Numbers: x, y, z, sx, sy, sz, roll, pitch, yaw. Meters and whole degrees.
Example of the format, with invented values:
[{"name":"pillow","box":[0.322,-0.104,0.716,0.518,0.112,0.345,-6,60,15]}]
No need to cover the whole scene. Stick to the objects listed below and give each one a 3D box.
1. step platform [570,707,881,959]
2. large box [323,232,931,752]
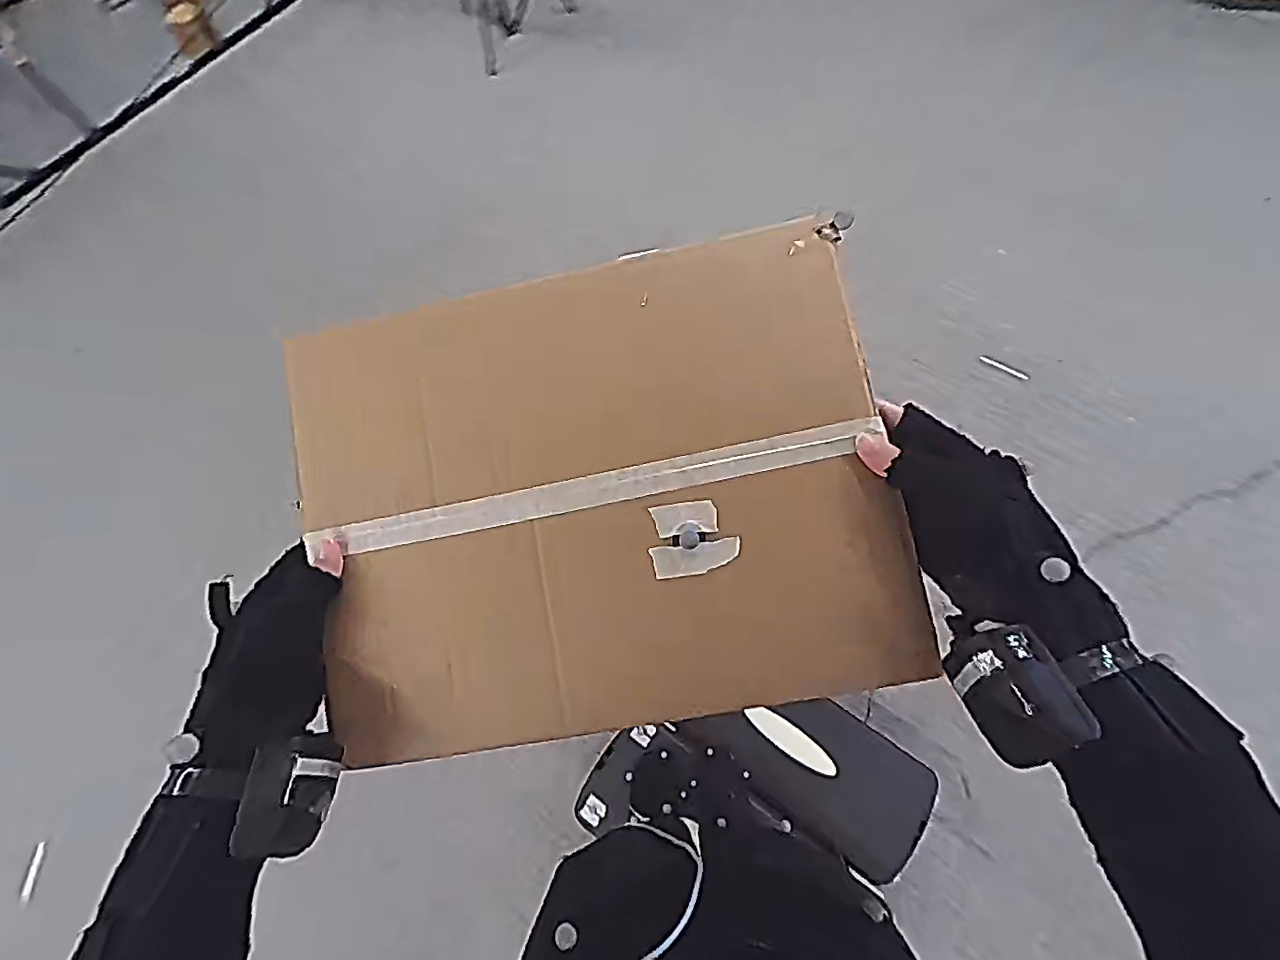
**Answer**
[{"name":"step platform","box":[0.173,0.827,1.234,0.684,0.204,0.286,31,74,20]},{"name":"large box","box":[-0.014,0.024,0.533,0.408,0.320,0.320,-11,84,5]}]
